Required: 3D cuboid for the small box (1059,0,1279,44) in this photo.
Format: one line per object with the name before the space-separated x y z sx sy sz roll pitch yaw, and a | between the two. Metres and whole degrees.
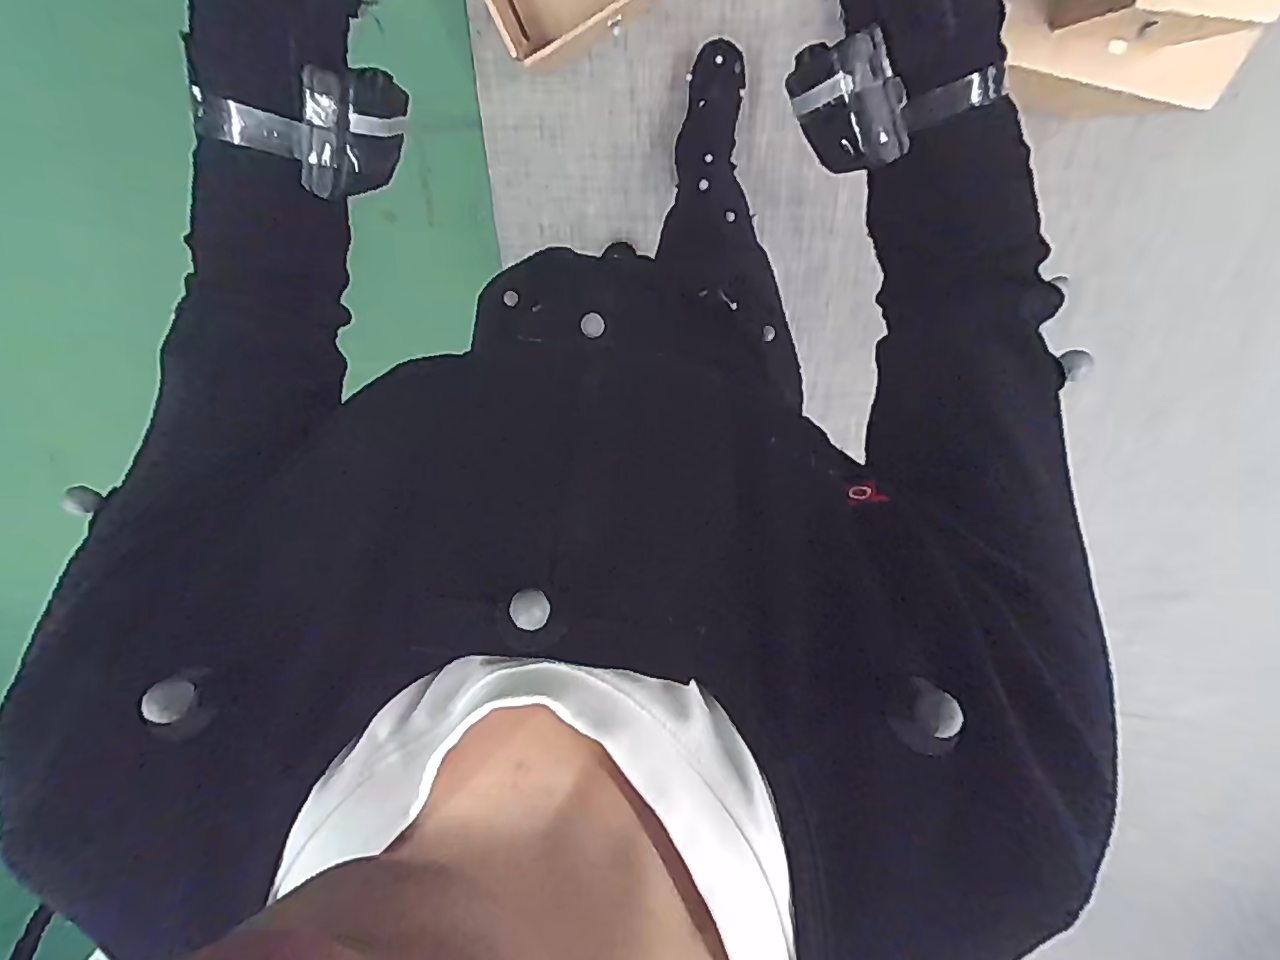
small box | 0.682 -0.664 0.671 0.179 0.176 0.168 7 122 1
